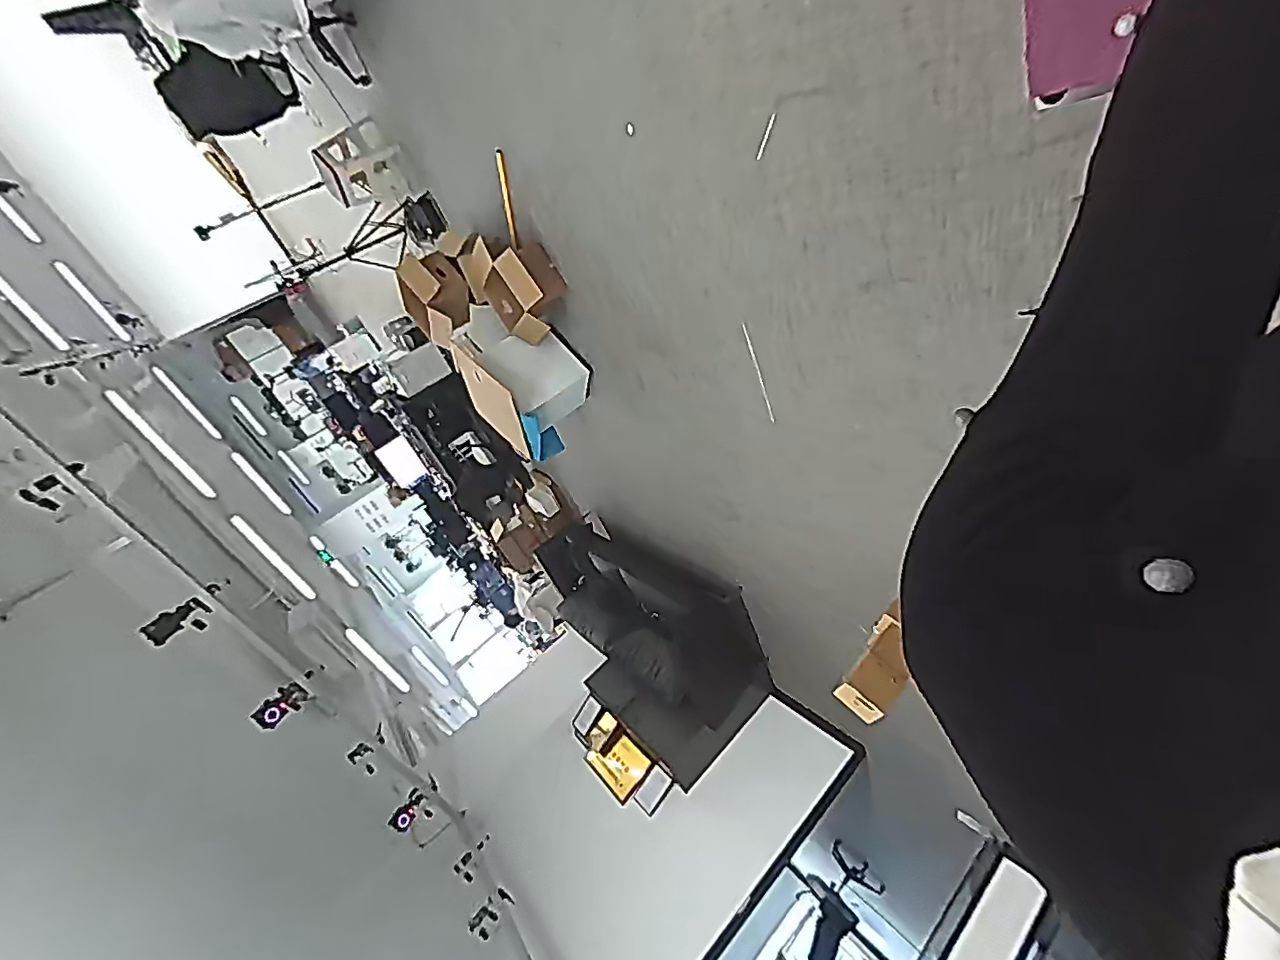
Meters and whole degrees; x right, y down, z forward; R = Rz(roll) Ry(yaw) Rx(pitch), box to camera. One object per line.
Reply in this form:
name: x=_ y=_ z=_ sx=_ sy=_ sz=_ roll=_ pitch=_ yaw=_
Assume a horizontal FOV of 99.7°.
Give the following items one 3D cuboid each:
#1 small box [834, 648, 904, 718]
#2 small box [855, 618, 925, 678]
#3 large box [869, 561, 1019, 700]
small box: x=0.885 y=0.781 z=2.086 sx=0.168 sy=0.176 sz=0.179 roll=39 pitch=155 yaw=24
small box: x=0.999 y=0.688 z=2.157 sx=0.168 sy=0.176 sz=0.179 roll=39 pitch=153 yaw=24
large box: x=1.238 y=0.614 z=2.238 sx=0.408 sy=0.320 sz=0.320 roll=36 pitch=154 yaw=30
